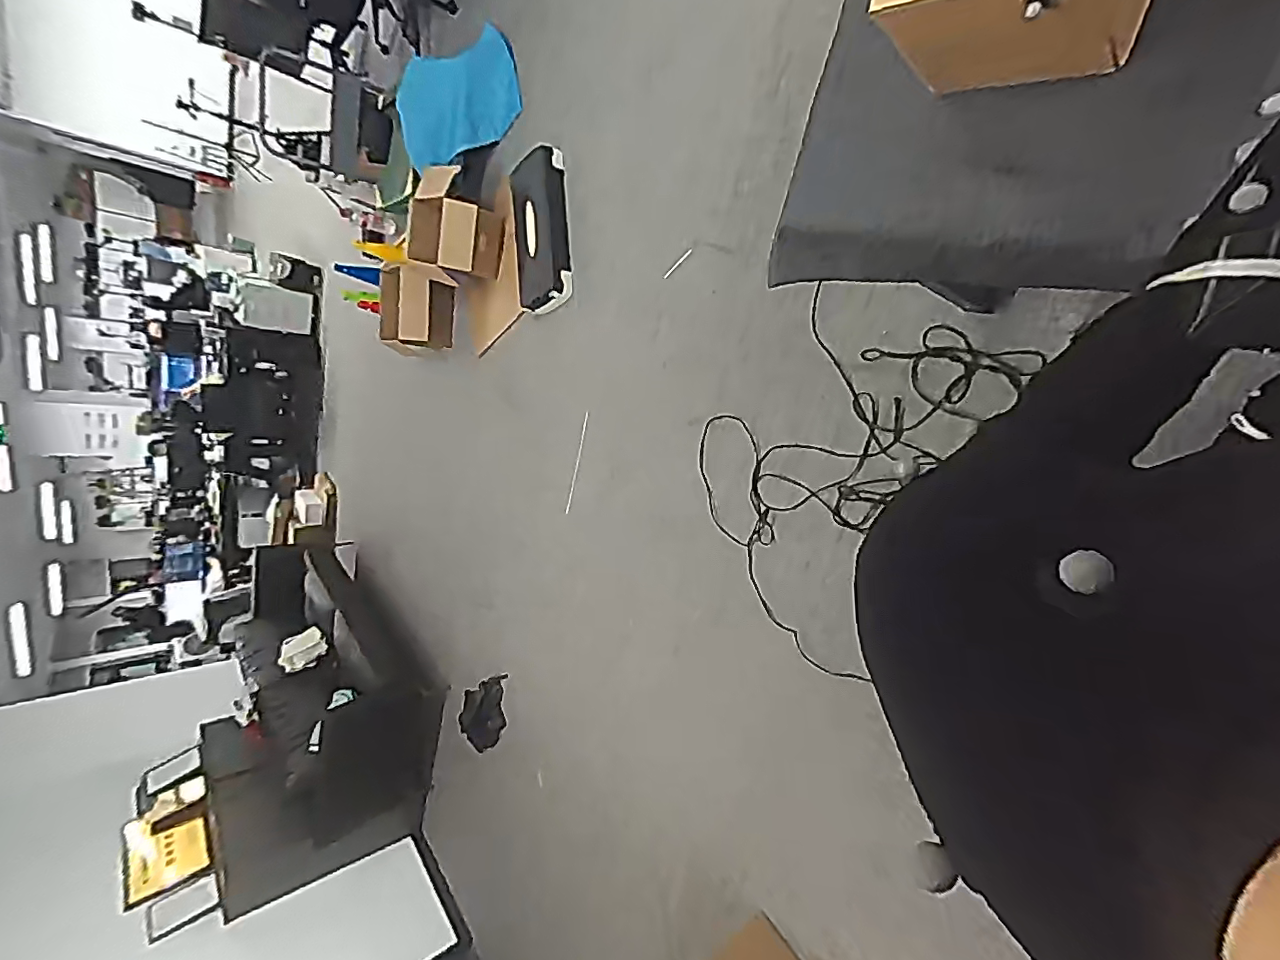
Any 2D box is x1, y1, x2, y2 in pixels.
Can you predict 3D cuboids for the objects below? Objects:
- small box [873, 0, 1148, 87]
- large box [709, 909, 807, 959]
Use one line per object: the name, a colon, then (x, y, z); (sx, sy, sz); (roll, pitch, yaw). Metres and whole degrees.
small box: (0.348, -0.485, 0.481); (0.179, 0.176, 0.168); (27, 111, 42)
large box: (0.367, 1.574, 1.530); (0.408, 0.320, 0.320); (37, 117, 41)
